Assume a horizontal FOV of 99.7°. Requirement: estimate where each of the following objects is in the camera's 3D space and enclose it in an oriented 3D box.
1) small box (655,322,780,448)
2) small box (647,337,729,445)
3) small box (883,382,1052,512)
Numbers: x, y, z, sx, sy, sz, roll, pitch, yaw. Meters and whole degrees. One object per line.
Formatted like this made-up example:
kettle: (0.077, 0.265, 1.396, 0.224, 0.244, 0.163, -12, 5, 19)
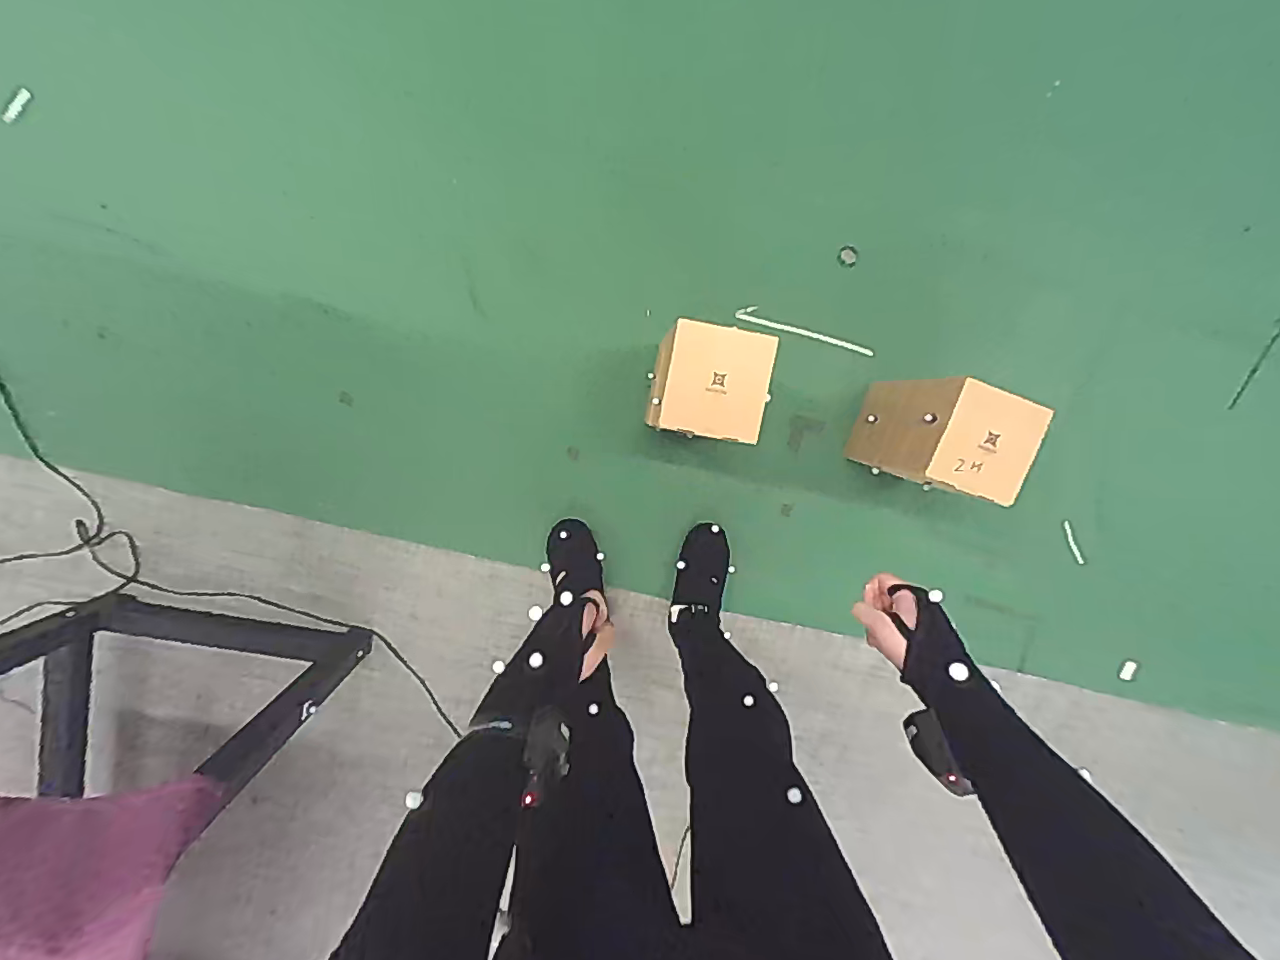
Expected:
small box: (0.123, -0.161, 0.939, 0.168, 0.176, 0.179, 10, 98, -4)
small box: (0.111, -0.179, 1.100, 0.168, 0.176, 0.179, 11, 97, -4)
small box: (0.572, -0.064, 0.972, 0.168, 0.176, 0.179, 20, 97, -5)
